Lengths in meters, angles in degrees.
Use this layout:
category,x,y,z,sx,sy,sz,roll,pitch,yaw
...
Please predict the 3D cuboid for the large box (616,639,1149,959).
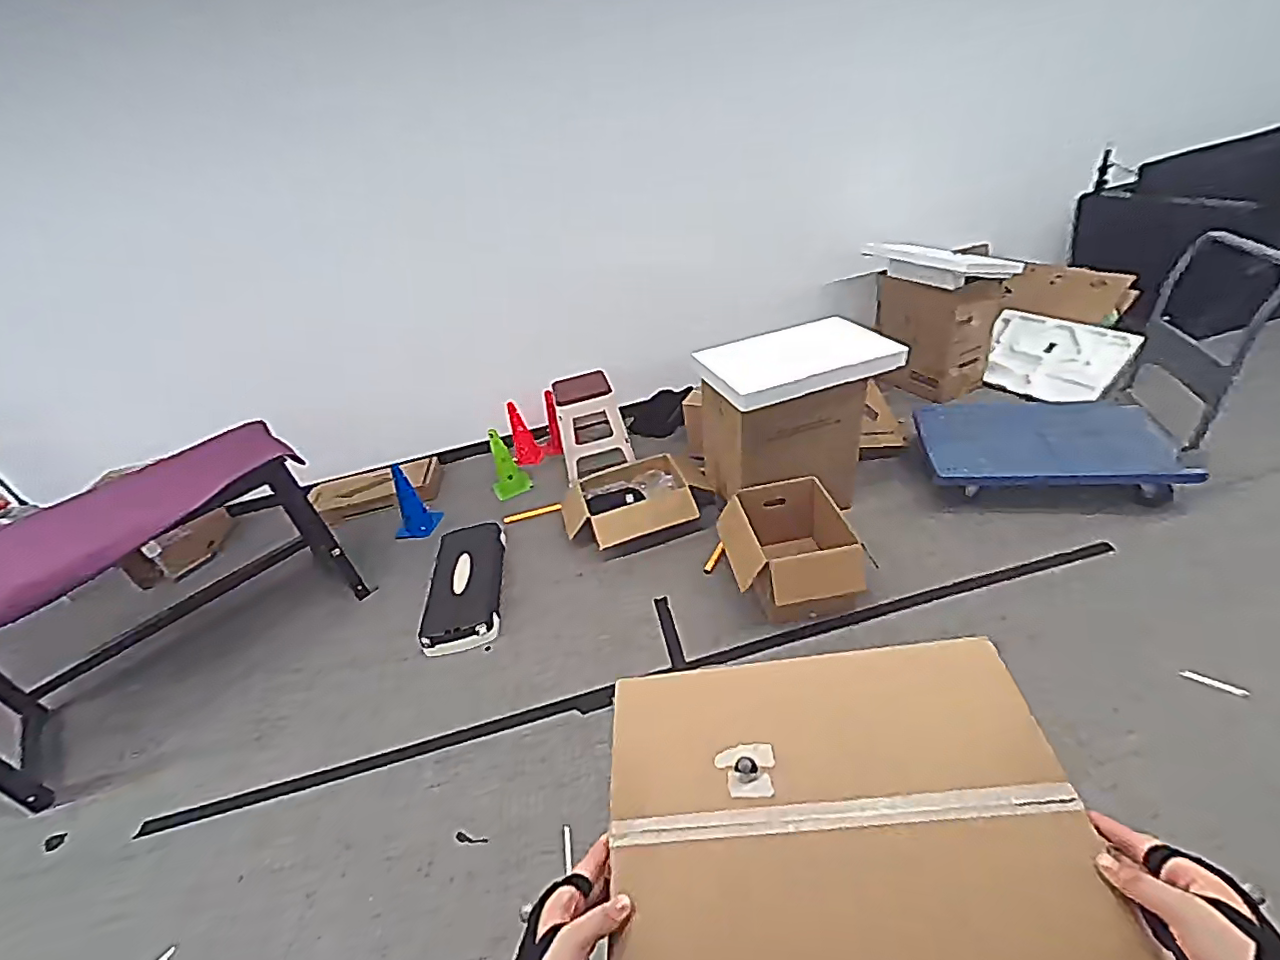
category,x,y,z,sx,sy,sz,roll,pitch,yaw
large box,0.206,0.417,0.591,0.408,0.320,0.320,-11,40,9
